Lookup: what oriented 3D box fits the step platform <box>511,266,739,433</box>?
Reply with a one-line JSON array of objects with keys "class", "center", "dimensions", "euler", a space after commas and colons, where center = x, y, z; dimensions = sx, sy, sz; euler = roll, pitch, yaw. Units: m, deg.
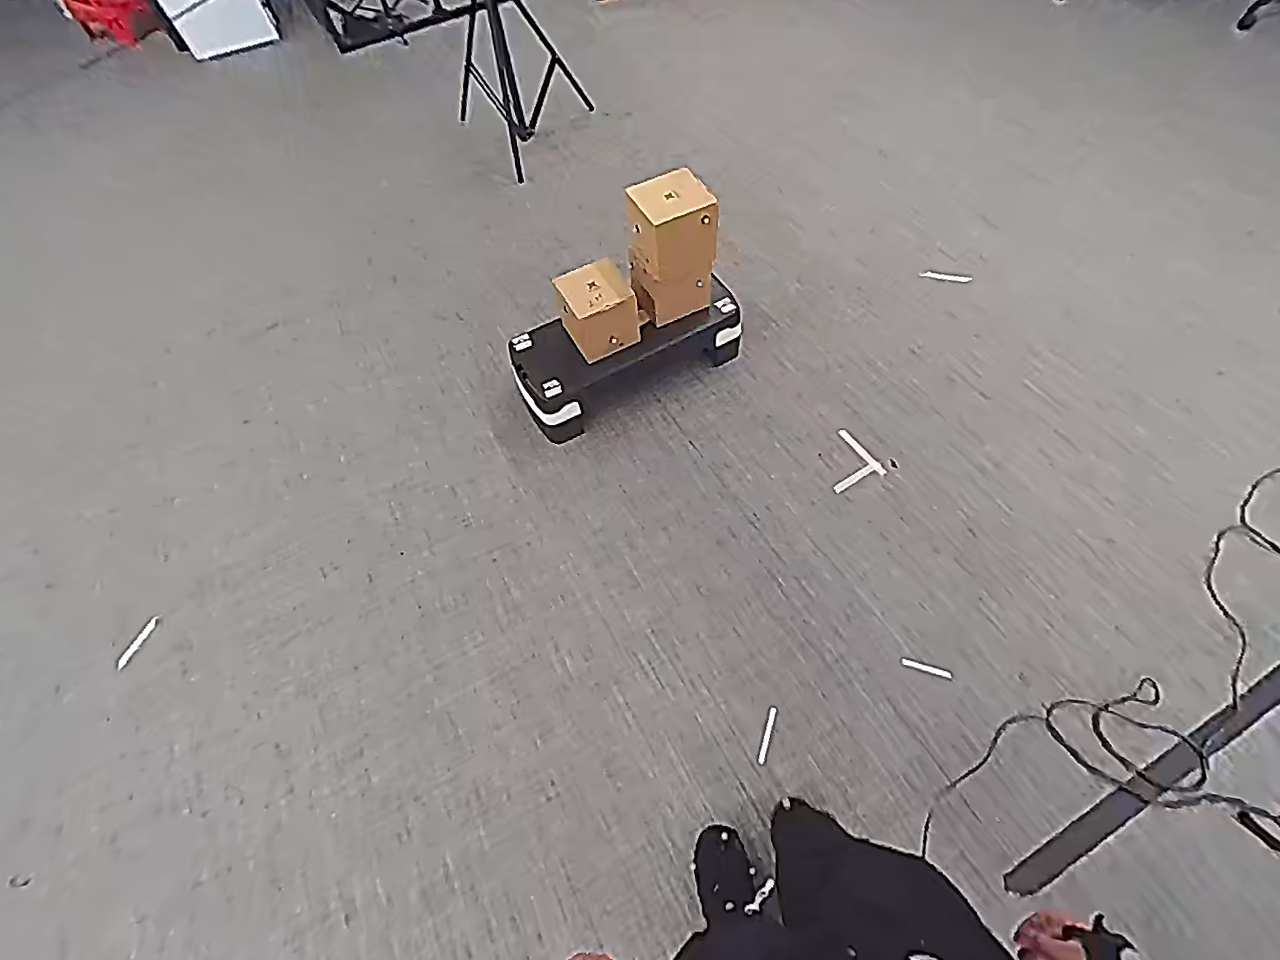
[{"class": "step platform", "center": [-0.040, -0.421, 1.651], "dimensions": [0.684, 0.204, 0.286], "euler": [-28, 62, -11]}]

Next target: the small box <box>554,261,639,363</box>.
[{"class": "small box", "center": [-0.116, -0.455, 1.476], "dimensions": [0.168, 0.176, 0.179], "euler": [-27, 62, -10]}]

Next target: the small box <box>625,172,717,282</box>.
[{"class": "small box", "center": [0.080, -0.639, 1.377], "dimensions": [0.179, 0.176, 0.168], "euler": [-25, 62, -10]}]
